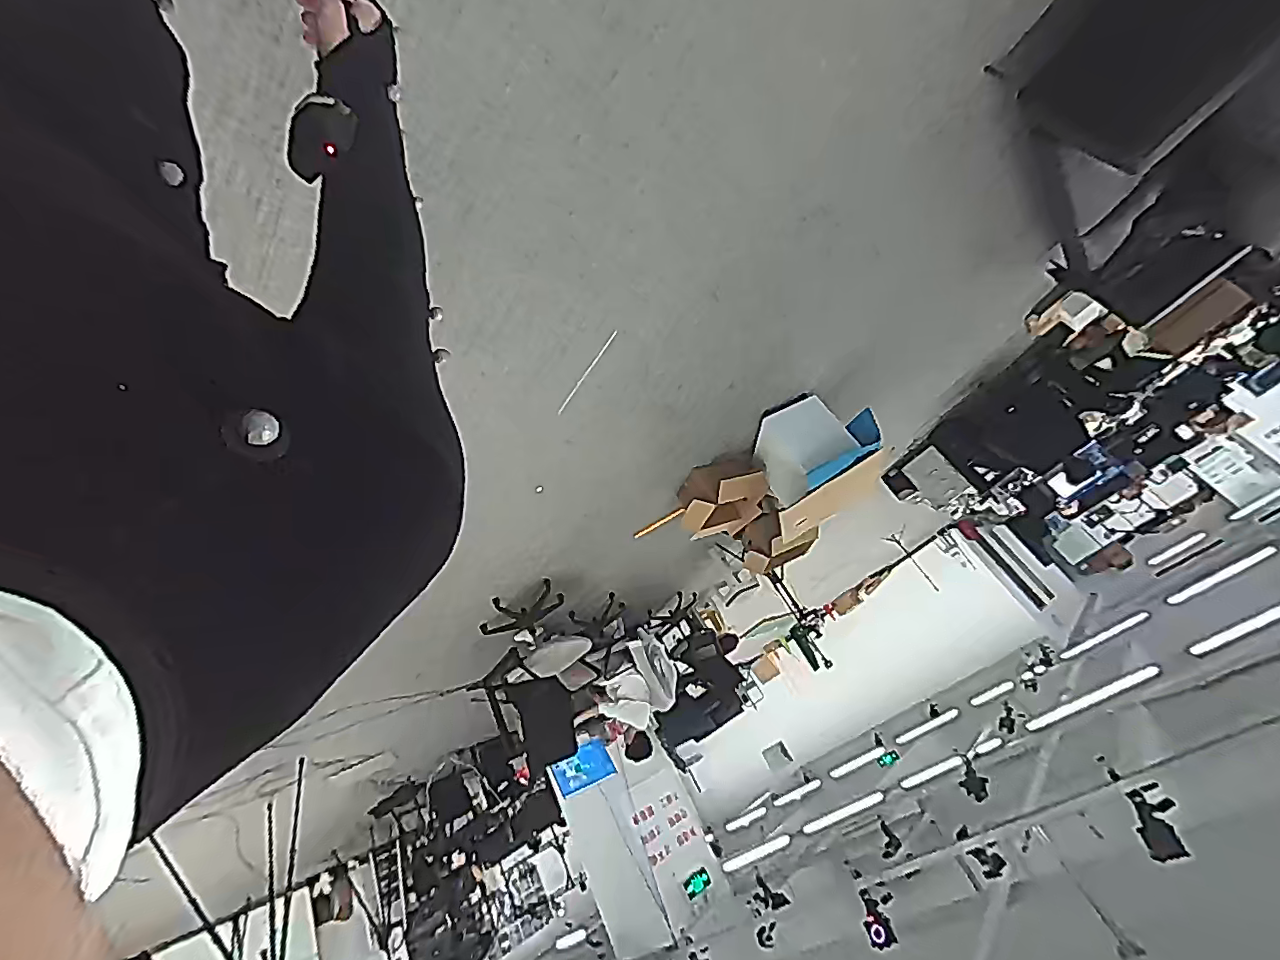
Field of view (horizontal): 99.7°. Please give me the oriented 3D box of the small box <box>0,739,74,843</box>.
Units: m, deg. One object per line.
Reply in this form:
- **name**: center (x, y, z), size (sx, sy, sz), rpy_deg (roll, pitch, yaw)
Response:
- **small box**: center (-1.484, 0.746, 1.297), size (0.168, 0.176, 0.179), rpy_deg (4, 139, -47)
